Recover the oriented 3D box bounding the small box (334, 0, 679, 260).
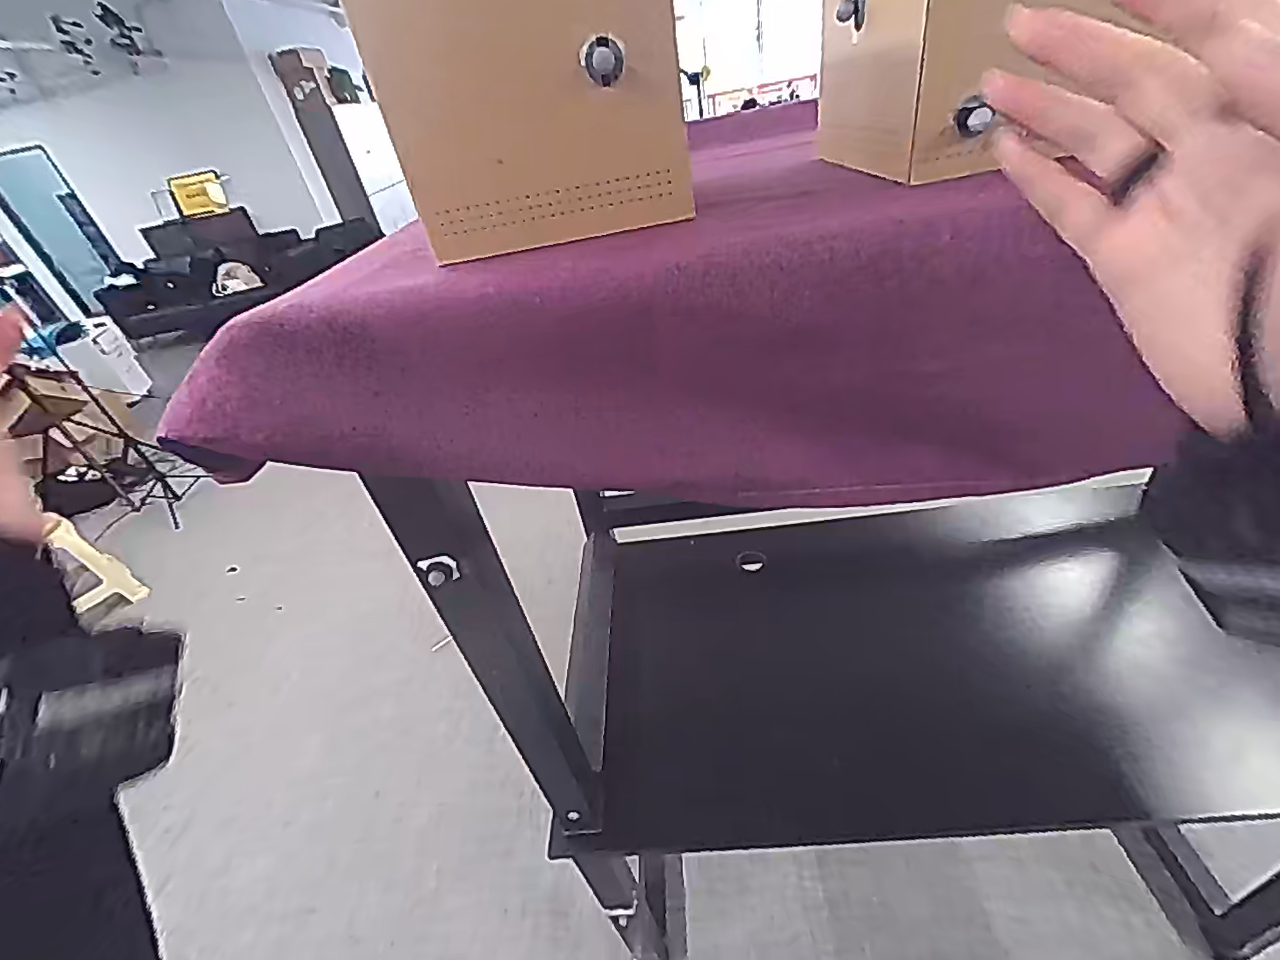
[{"bbox_3d":[-0.071,-0.266,0.367,0.179,0.176,0.168,-10,35,1],"label":"small box"}]

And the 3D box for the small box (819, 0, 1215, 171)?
[{"bbox_3d":[0.220,-0.306,0.340,0.168,0.176,0.179,-9,35,3],"label":"small box"}]
